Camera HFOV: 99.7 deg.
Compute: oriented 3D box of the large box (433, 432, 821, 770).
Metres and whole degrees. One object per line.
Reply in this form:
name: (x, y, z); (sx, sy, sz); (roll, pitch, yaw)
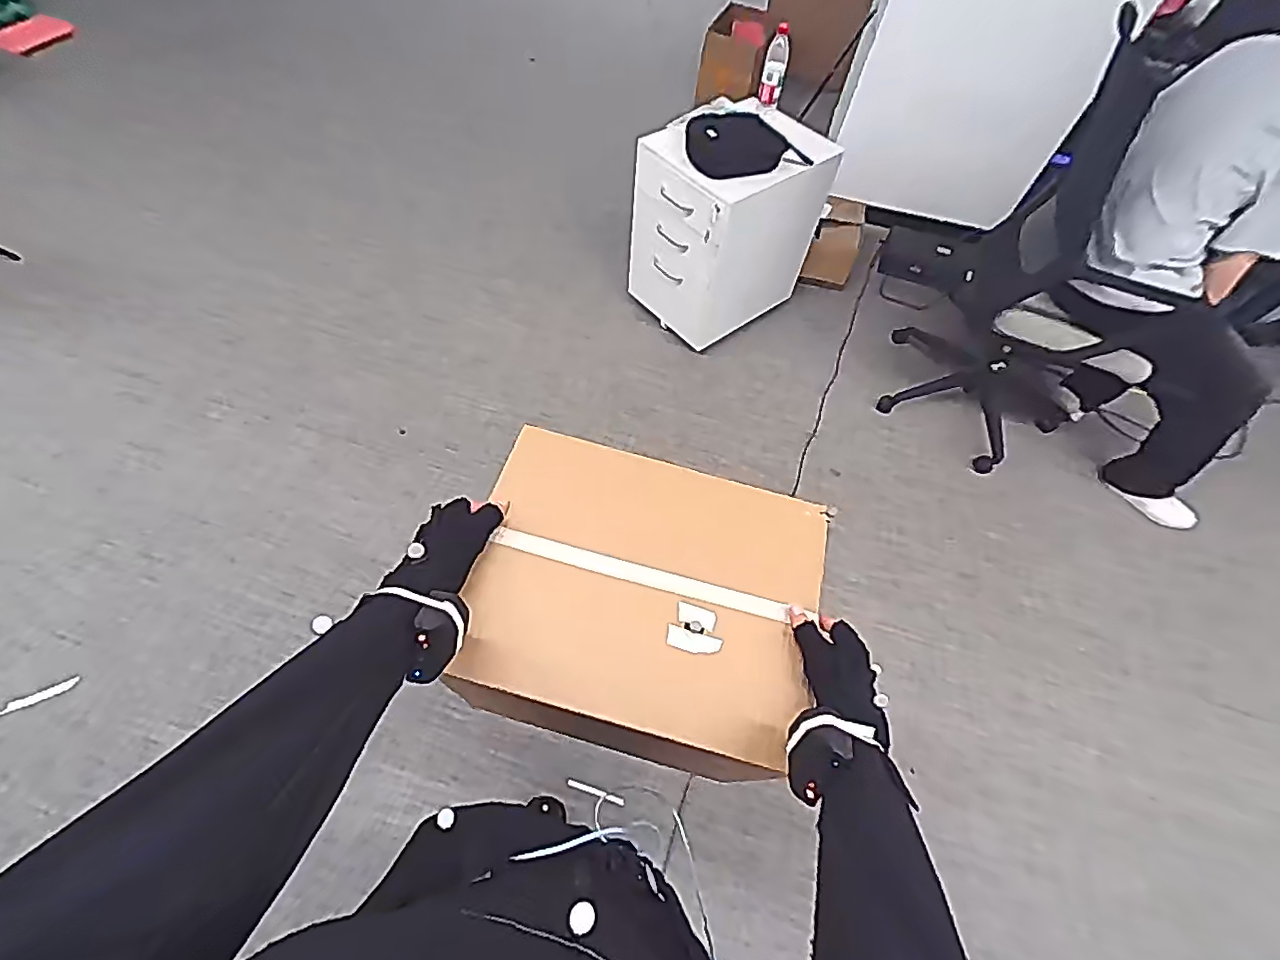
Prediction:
large box: (-0.009, 0.185, 0.759); (0.408, 0.320, 0.320); (16, 61, 2)
